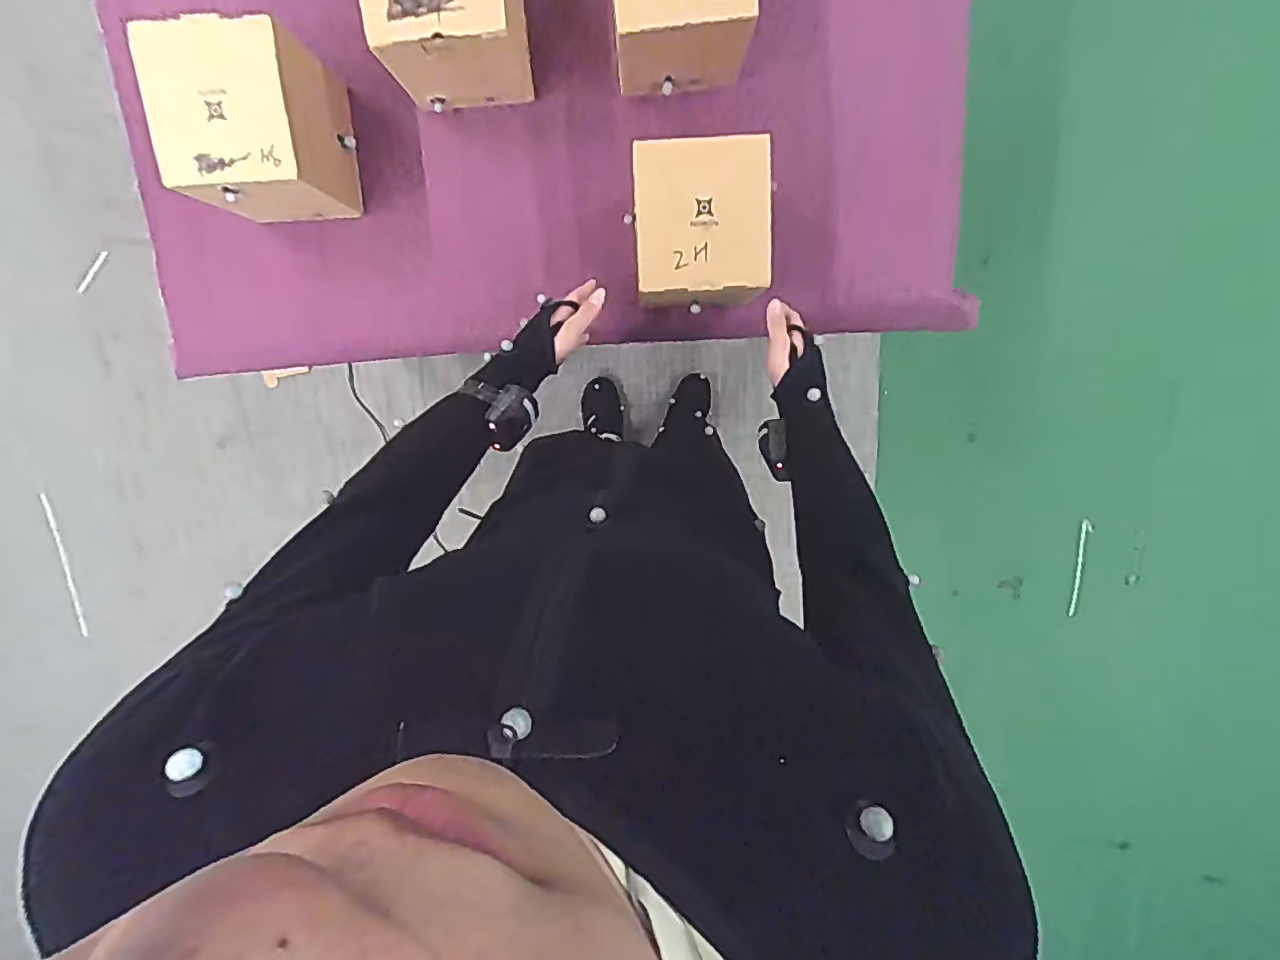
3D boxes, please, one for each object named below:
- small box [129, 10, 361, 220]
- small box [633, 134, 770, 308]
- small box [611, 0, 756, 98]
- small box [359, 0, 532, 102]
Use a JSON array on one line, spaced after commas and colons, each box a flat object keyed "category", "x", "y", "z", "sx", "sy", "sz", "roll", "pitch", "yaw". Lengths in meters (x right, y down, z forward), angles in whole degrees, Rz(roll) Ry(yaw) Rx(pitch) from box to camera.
[{"category": "small box", "x": -0.495, "y": -0.459, "z": 0.706, "sx": 0.168, "sy": 0.176, "sz": 0.179, "roll": -3, "pitch": 101, "yaw": 1}, {"category": "small box", "x": 0.074, "y": -0.339, "z": 0.736, "sx": 0.168, "sy": 0.176, "sz": 0.179, "roll": -2, "pitch": 101, "yaw": 0}, {"category": "small box", "x": 0.045, "y": -0.623, "z": 0.681, "sx": 0.168, "sy": 0.176, "sz": 0.179, "roll": -5, "pitch": 103, "yaw": 1}, {"category": "small box", "x": -0.239, "y": -0.606, "z": 0.680, "sx": 0.168, "sy": 0.176, "sz": 0.179, "roll": -4, "pitch": 101, "yaw": 0}]
